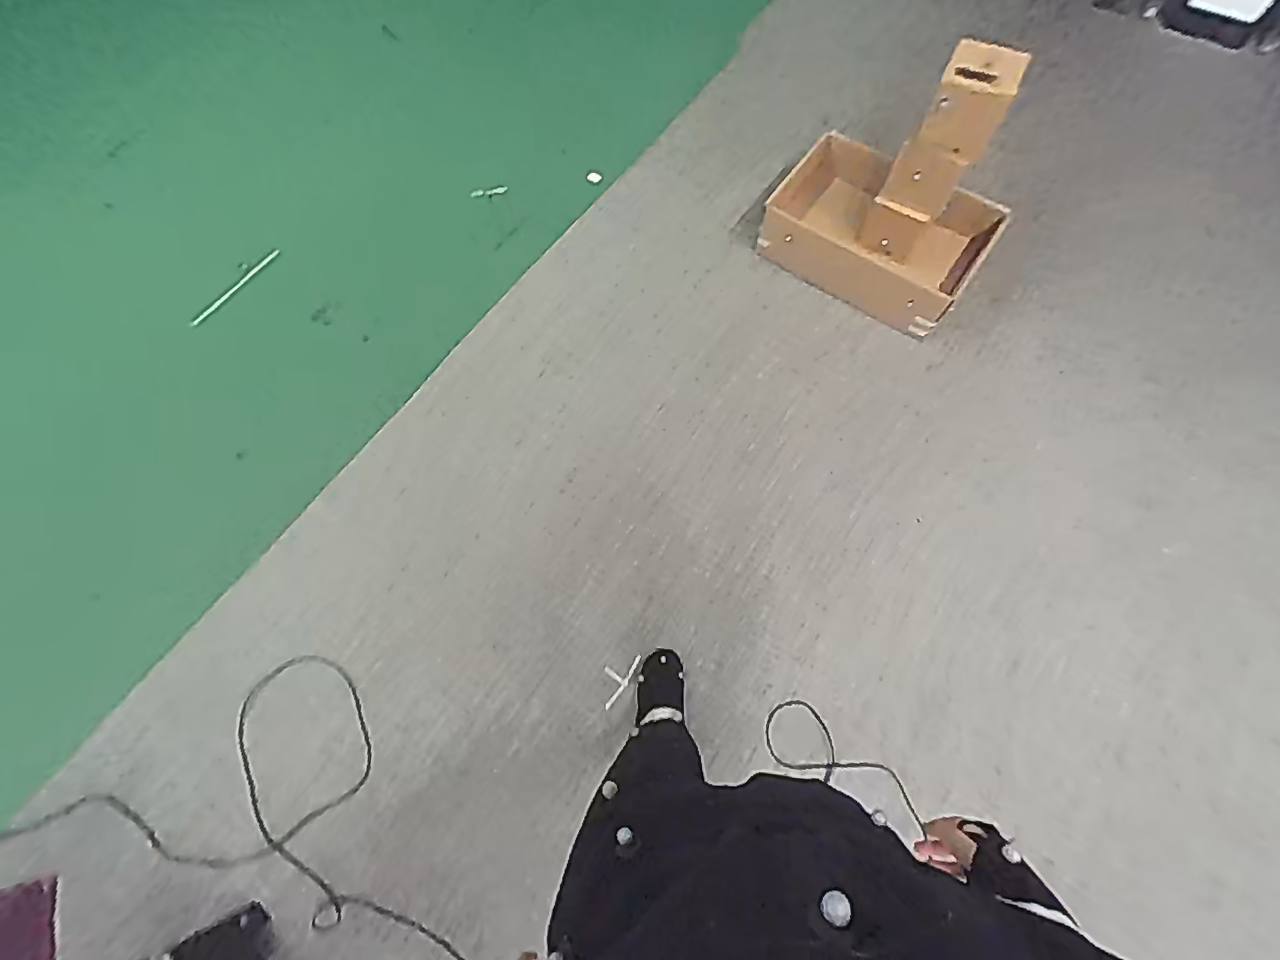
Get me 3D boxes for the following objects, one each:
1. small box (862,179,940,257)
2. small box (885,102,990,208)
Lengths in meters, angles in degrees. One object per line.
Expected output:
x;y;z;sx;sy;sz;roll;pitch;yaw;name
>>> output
0.802;-0.821;1.639;0.168;0.176;0.179;33;75;17;small box
0.808;-0.889;1.489;0.179;0.176;0.168;29;74;15;small box
